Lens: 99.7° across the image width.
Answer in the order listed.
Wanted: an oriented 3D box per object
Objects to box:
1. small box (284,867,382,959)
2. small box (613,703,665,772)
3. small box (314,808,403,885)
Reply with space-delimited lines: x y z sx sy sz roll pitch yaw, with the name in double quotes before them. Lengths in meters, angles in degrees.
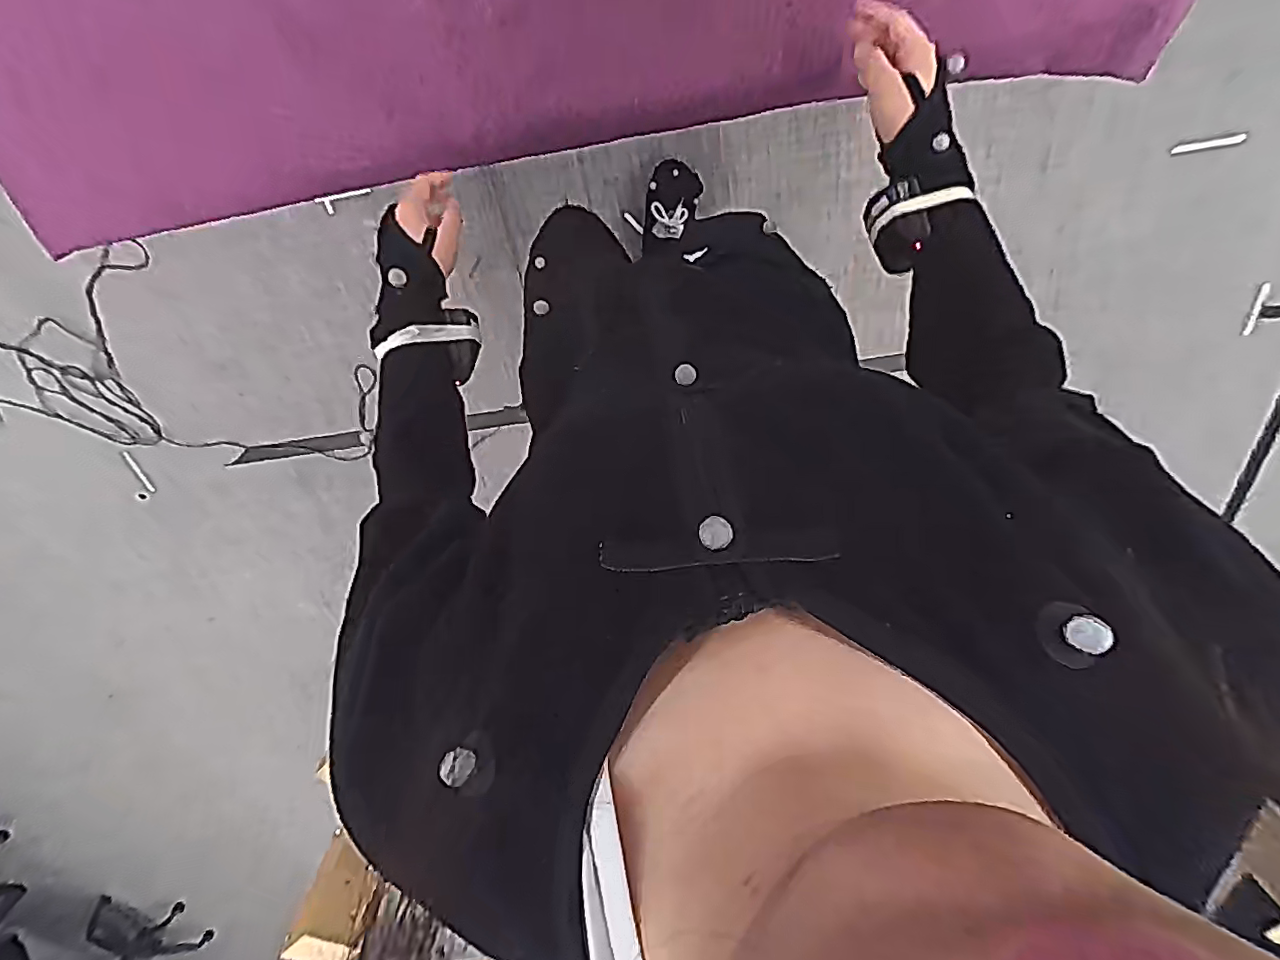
"small box" -0.882 1.263 1.570 0.168 0.176 0.179 35 115 -20
"small box" -0.003 1.031 2.173 0.168 0.176 0.179 -18 120 7
"small box" -0.882 1.182 1.712 0.168 0.176 0.179 35 115 -20
